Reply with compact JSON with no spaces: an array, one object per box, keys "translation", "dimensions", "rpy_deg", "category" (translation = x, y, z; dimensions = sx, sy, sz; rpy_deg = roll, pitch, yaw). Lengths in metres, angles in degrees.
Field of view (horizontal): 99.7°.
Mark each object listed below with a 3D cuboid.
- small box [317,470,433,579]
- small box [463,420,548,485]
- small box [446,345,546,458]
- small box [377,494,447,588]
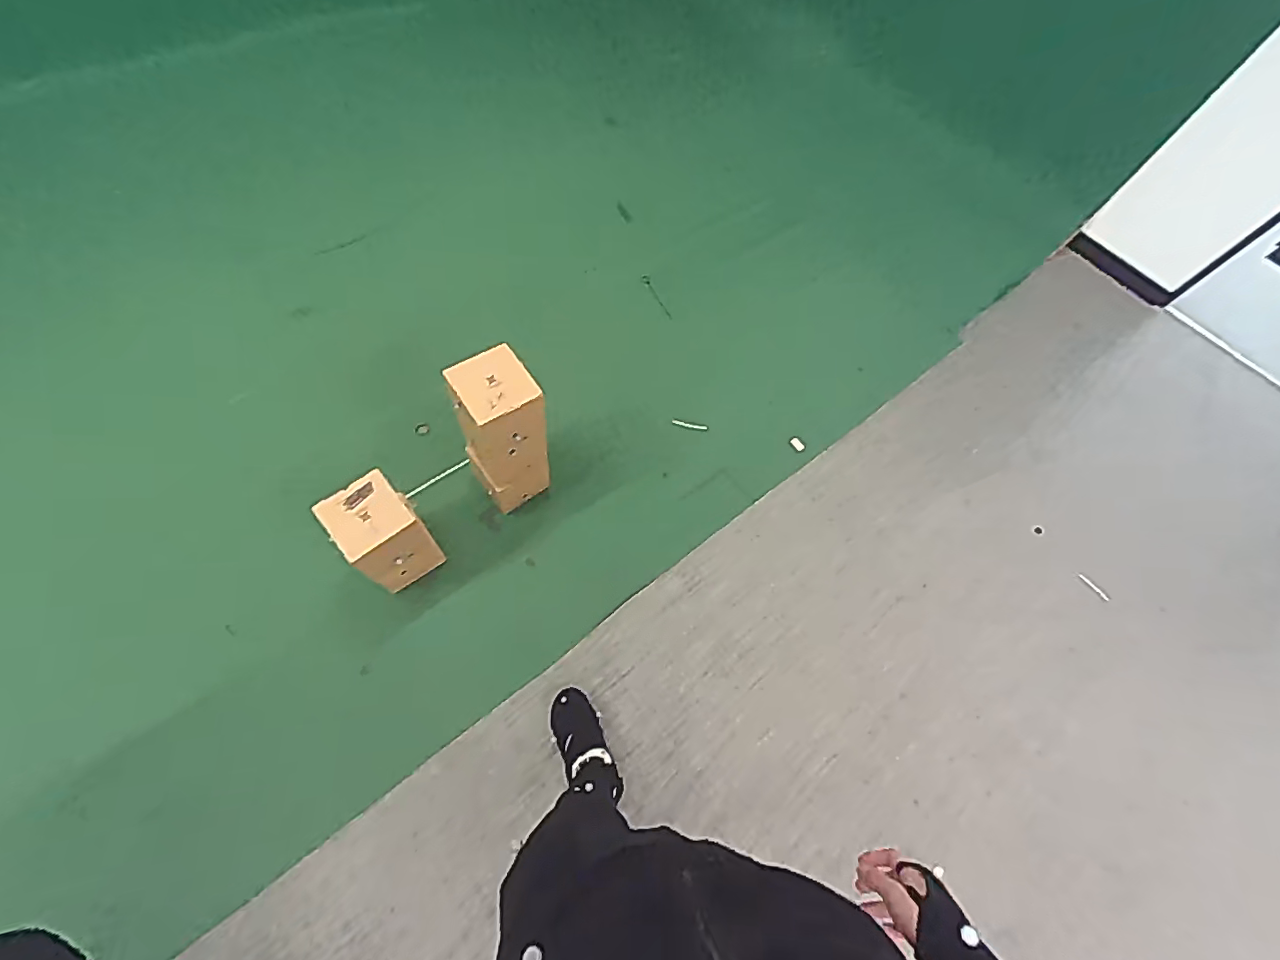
[{"translation":[-0.634,0.113,1.311],"dimensions":[0.168,0.176,0.179],"rpy_deg":[-37,74,-20],"category":"small box"},{"translation":[-0.361,-0.118,1.454],"dimensions":[0.168,0.176,0.179],"rpy_deg":[-31,71,-20],"category":"small box"},{"translation":[-0.341,-0.185,1.304],"dimensions":[0.168,0.176,0.179],"rpy_deg":[-31,72,-20],"category":"small box"},{"translation":[-0.649,0.174,1.463],"dimensions":[0.168,0.176,0.179],"rpy_deg":[-34,72,-20],"category":"small box"}]
